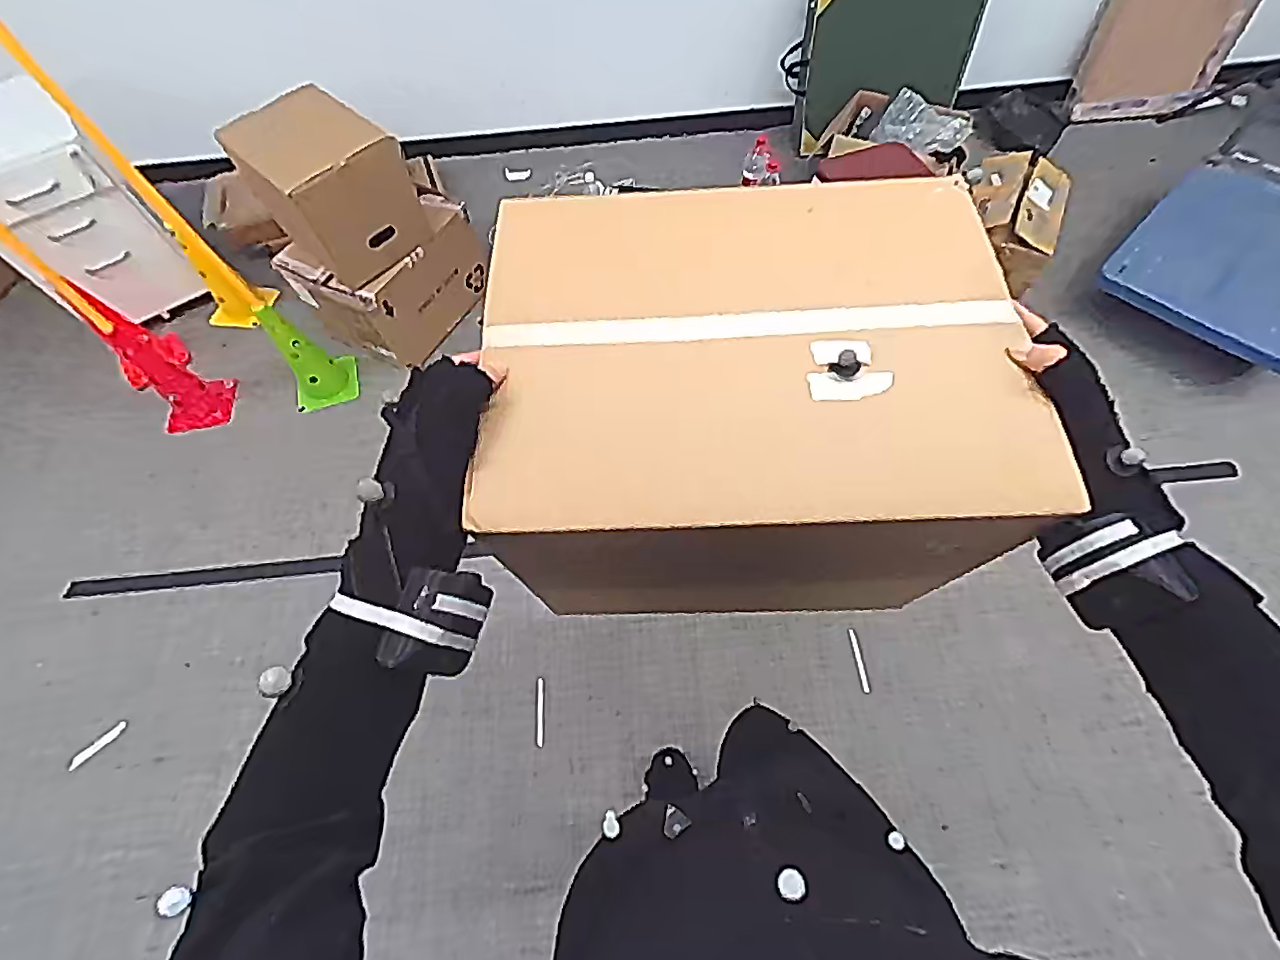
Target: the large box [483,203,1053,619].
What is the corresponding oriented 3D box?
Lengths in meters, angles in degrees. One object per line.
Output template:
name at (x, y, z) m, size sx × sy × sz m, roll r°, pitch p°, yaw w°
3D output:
large box at (0.086, -0.044, 0.570) m, size 0.408 × 0.320 × 0.320 m, roll -2°, pitch 65°, yaw 2°
